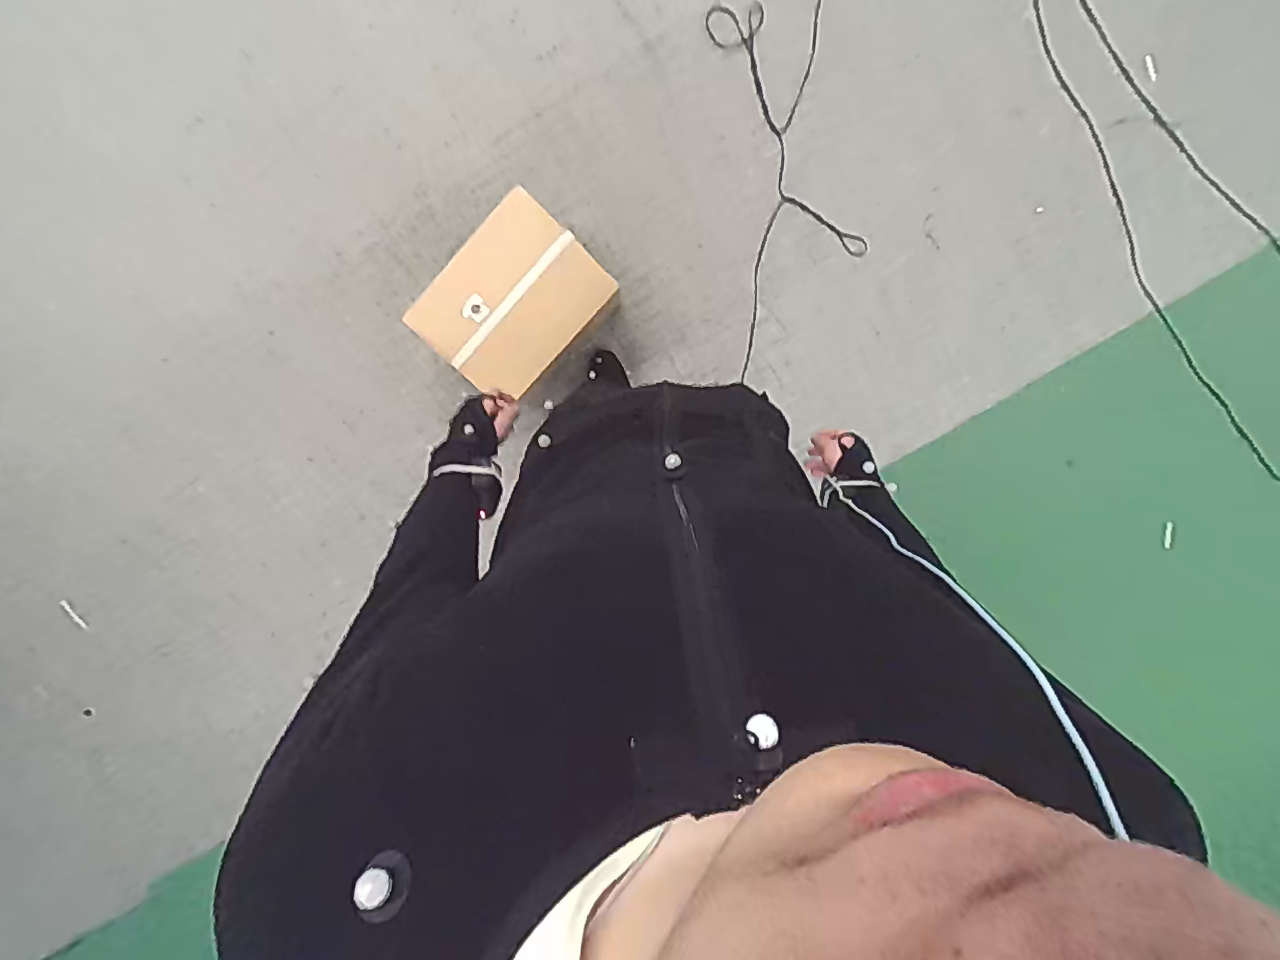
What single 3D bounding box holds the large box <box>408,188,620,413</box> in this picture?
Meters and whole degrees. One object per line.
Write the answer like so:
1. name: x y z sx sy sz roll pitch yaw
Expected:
1. large box: -0.294 -0.434 1.379 0.320 0.320 0.408 43 98 -9
